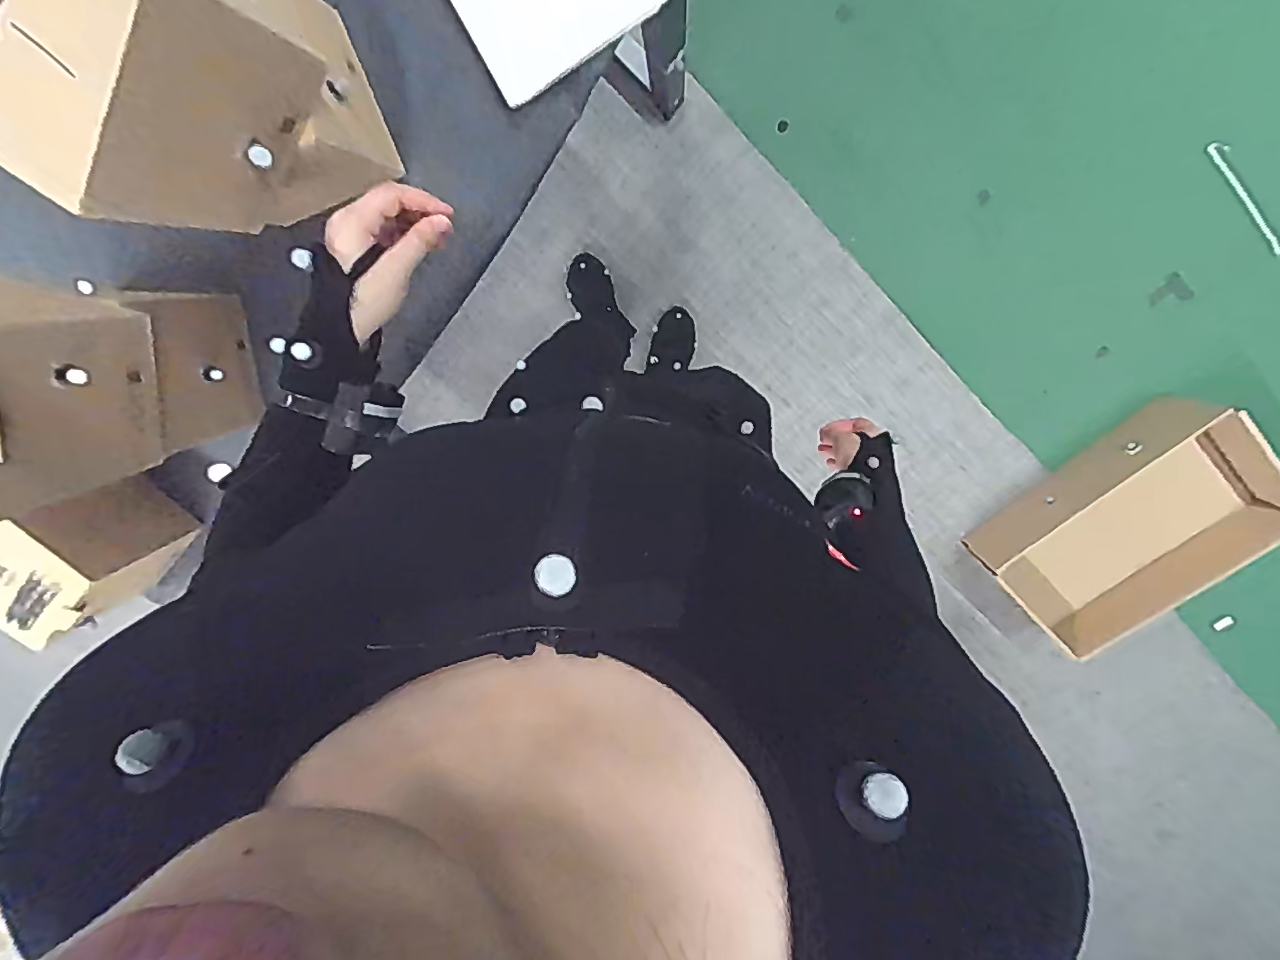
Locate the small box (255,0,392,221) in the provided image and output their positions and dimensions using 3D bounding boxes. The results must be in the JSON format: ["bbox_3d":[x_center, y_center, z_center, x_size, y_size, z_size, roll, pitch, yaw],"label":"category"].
[{"bbox_3d":[-0.379,-0.375,0.537,0.179,0.176,0.168,-16,109,10],"label":"small box"}]

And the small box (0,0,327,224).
[{"bbox_3d":[-0.377,-0.307,0.387,0.179,0.176,0.168,36,110,-10],"label":"small box"}]

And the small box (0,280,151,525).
[{"bbox_3d":[-0.593,-0.082,0.488,0.179,0.176,0.168,14,110,-1],"label":"small box"}]

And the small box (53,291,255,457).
[{"bbox_3d":[-0.600,-0.133,0.643,0.179,0.176,0.168,3,111,2],"label":"small box"}]
